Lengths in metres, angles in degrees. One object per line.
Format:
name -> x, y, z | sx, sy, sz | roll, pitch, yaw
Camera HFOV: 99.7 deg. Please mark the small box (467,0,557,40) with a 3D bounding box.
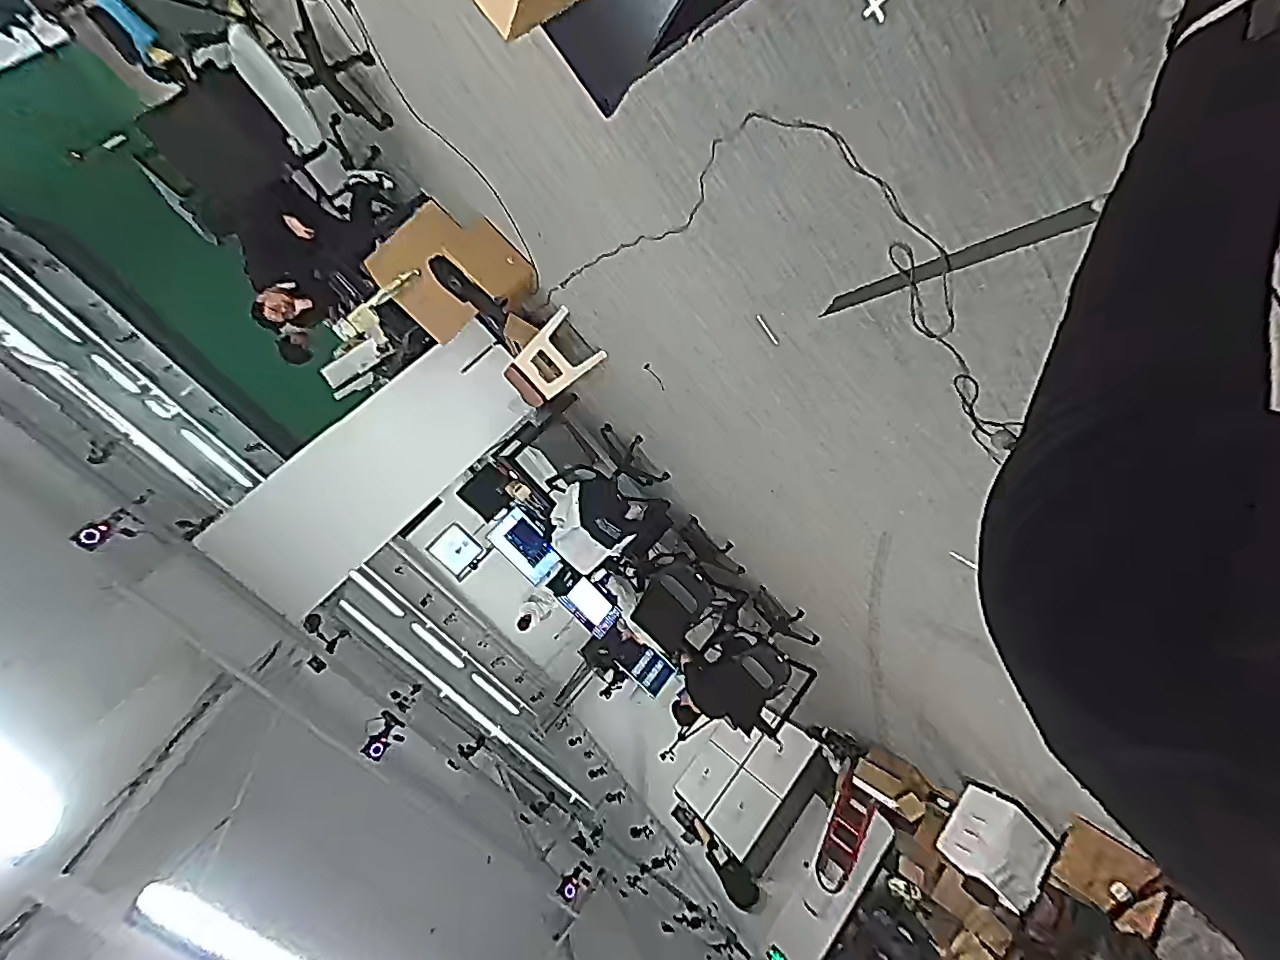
small box -> -0.134, -0.650, 0.588 | 0.168, 0.176, 0.179 | 49, 161, -19
